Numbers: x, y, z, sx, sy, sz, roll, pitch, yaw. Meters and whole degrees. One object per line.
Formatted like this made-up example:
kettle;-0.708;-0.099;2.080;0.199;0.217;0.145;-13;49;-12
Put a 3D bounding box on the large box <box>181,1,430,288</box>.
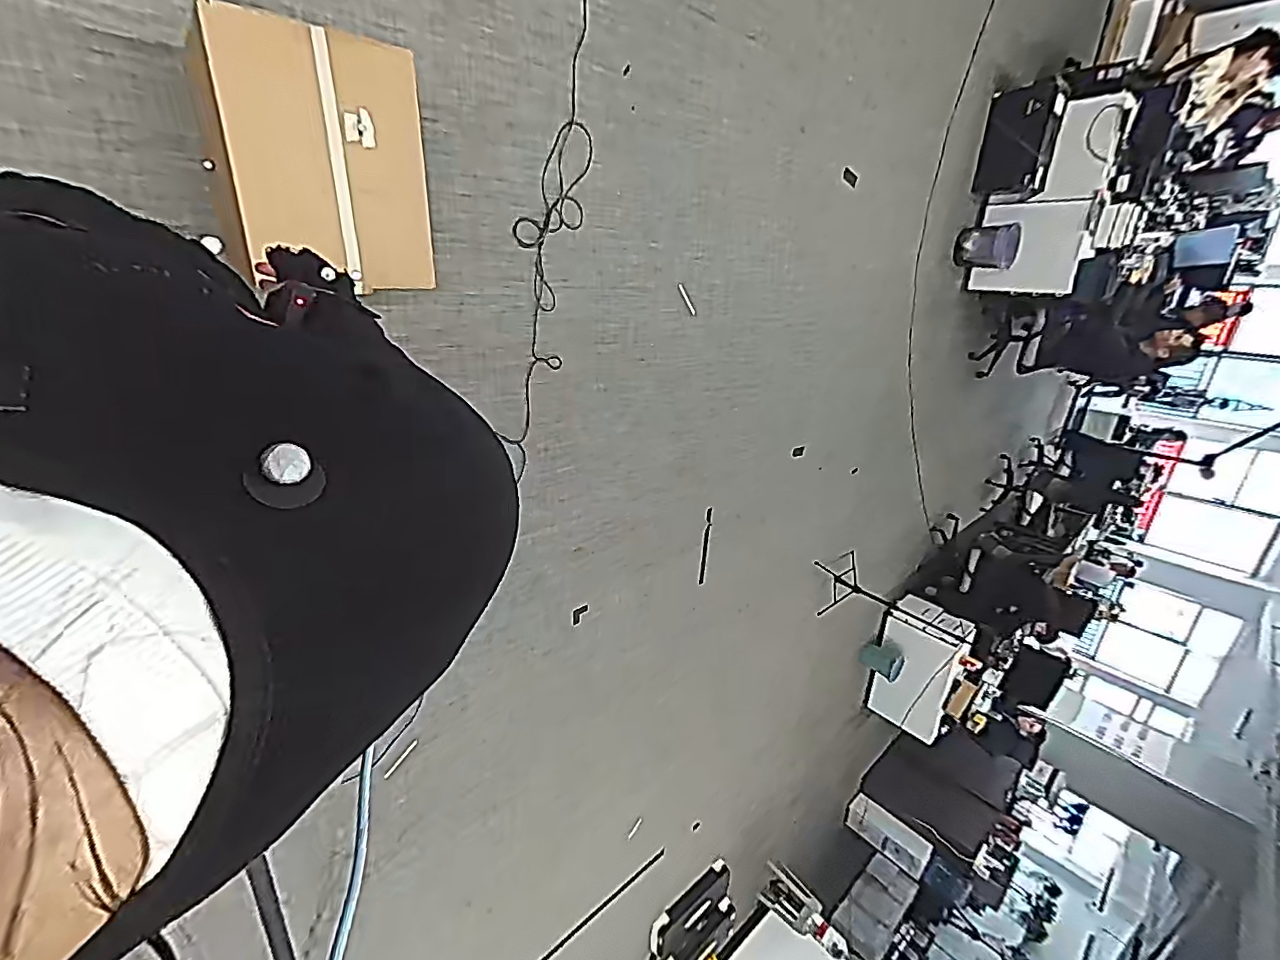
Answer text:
large box;-0.646;-0.595;1.062;0.320;0.320;0.408;-17;118;-40
